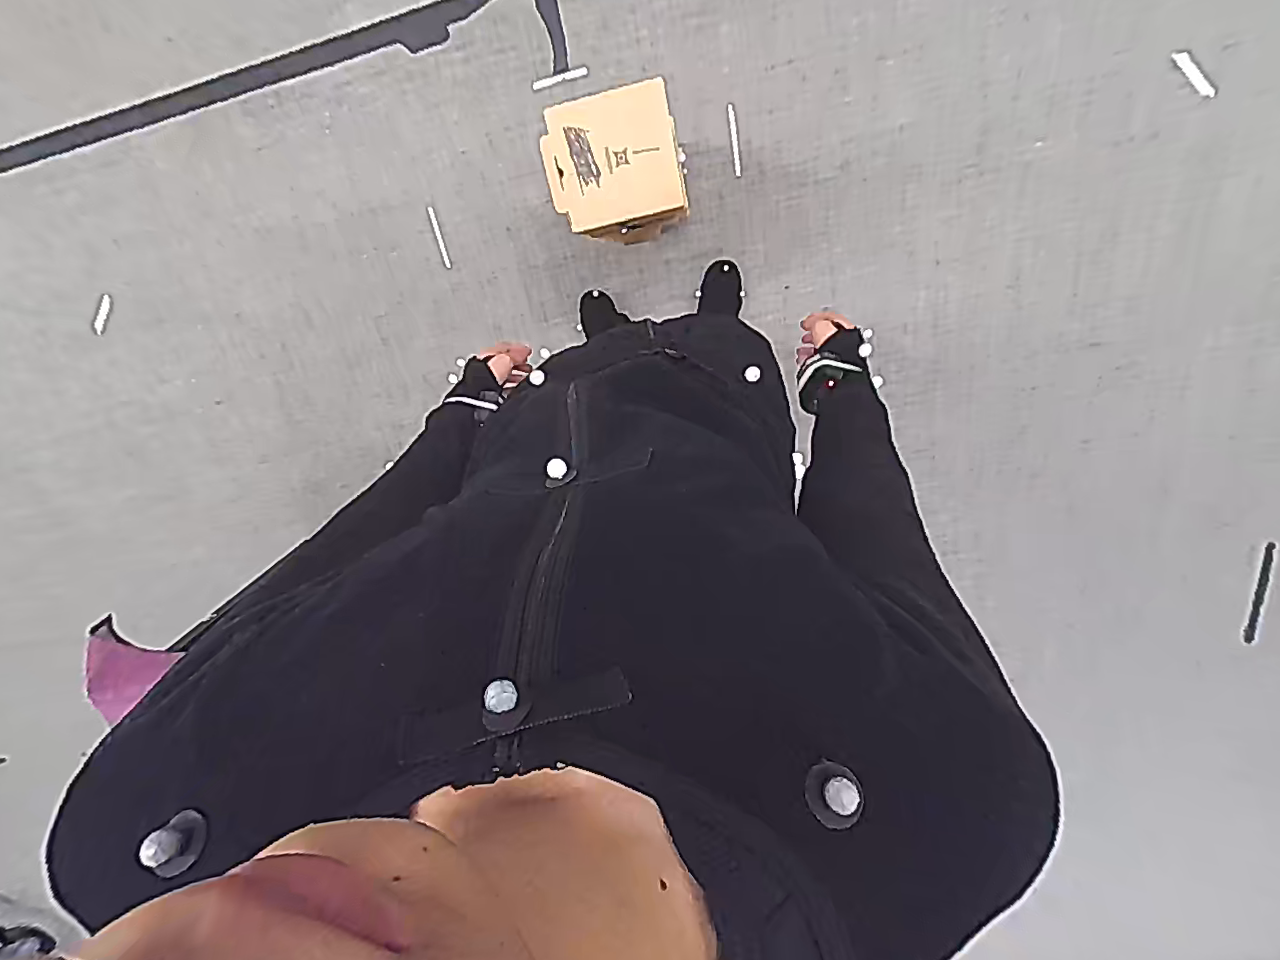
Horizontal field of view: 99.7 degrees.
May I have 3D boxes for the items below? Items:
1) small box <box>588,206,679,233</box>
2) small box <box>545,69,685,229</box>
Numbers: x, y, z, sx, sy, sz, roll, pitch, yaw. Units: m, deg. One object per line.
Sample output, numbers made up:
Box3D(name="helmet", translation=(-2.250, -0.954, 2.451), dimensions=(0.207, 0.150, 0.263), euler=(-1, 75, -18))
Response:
Box3D(name="small box", translation=(-0.023, -0.564, 0.996), dimensions=(0.168, 0.176, 0.179), euler=(-8, 114, 8))
Box3D(name="small box", translation=(-0.029, -0.499, 0.845), dimensions=(0.179, 0.176, 0.168), euler=(-11, 113, 8))
